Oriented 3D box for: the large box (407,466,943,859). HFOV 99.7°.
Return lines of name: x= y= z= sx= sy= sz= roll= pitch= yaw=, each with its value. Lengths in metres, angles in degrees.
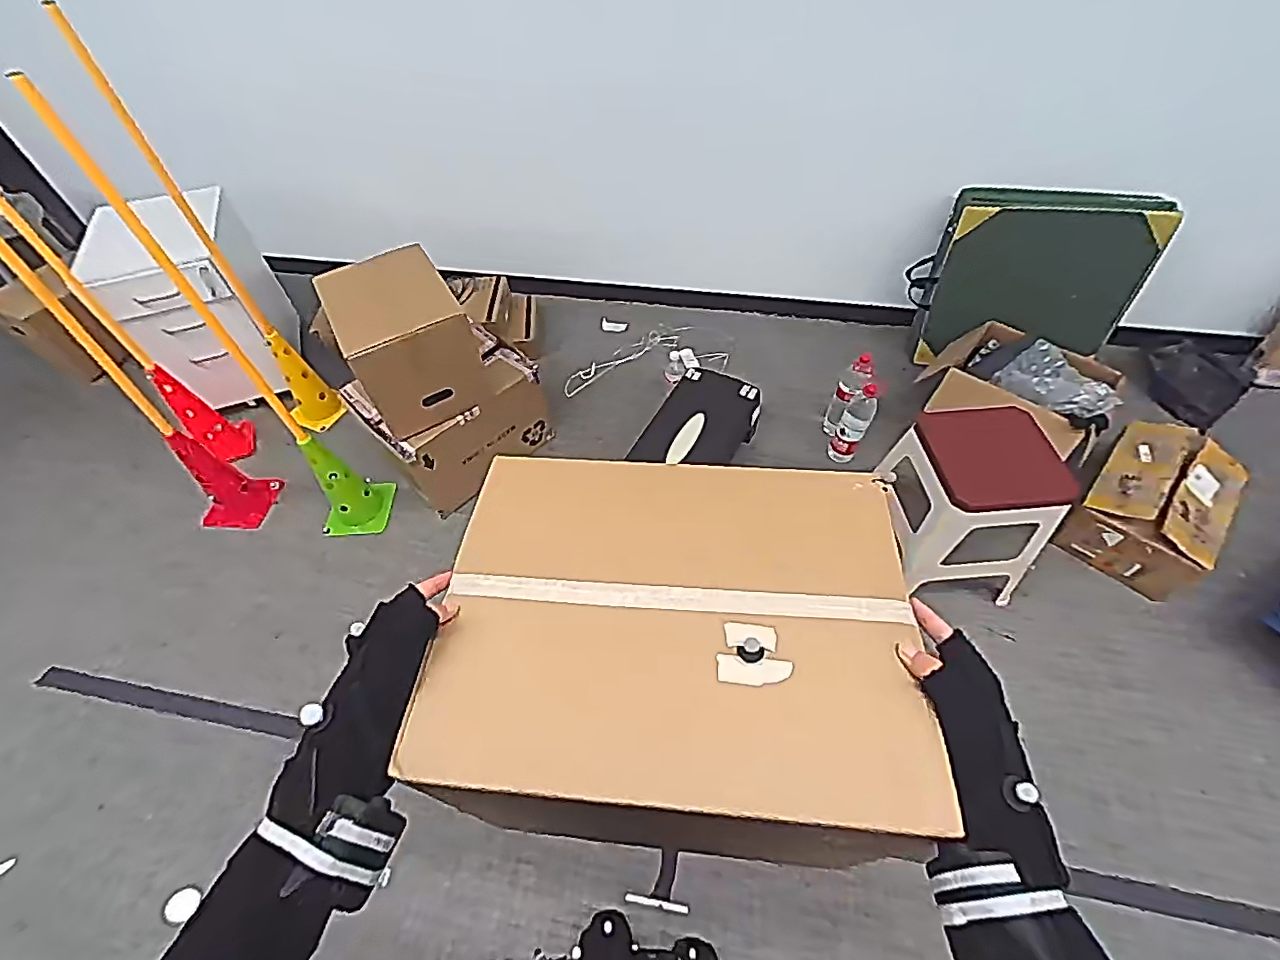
large box: x=0.034 y=0.204 z=0.602 sx=0.408 sy=0.320 sz=0.320 roll=3 pitch=51 yaw=5
